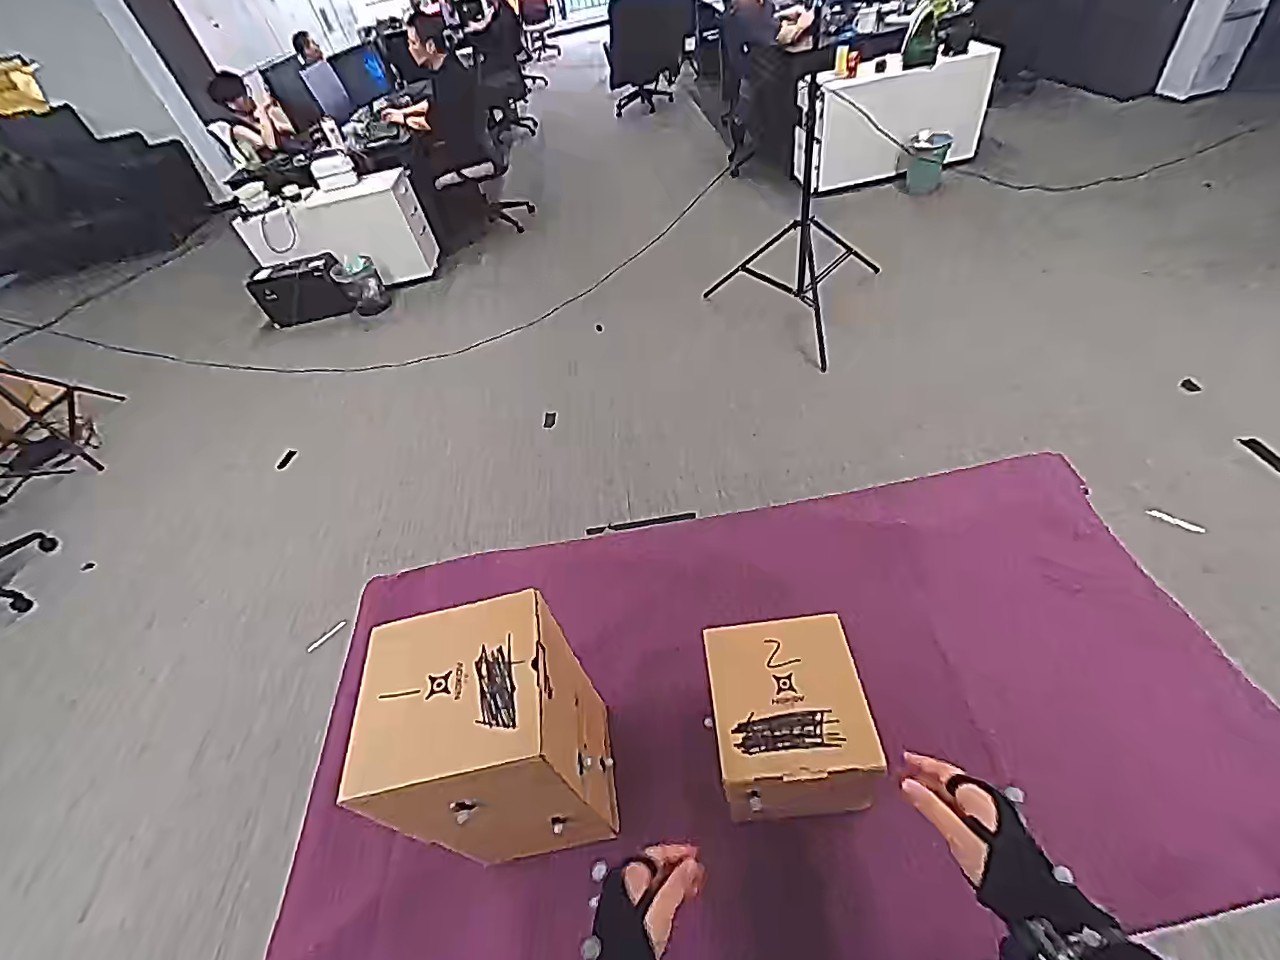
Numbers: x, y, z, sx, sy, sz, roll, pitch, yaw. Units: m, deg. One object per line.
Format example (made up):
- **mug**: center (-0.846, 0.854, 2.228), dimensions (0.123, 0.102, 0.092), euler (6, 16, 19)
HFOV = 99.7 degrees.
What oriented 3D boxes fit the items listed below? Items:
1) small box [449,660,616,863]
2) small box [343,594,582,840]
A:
- **small box**: center (-0.137, 0.356, 0.677), dimensions (0.179, 0.176, 0.168), euler (-12, 45, 0)
- **small box**: center (-0.161, 0.246, 0.557), dimensions (0.179, 0.176, 0.168), euler (-13, 45, 0)
